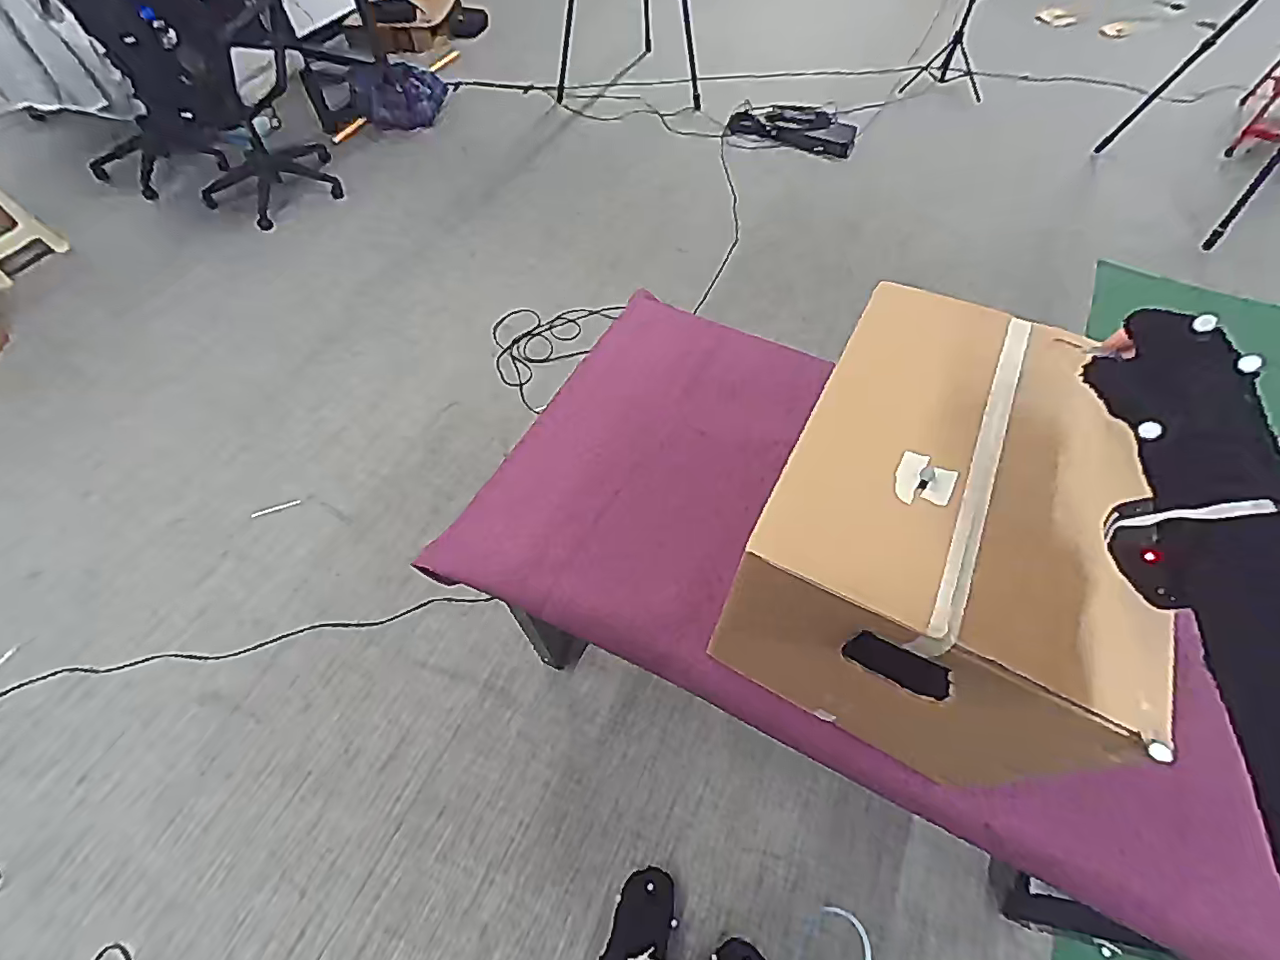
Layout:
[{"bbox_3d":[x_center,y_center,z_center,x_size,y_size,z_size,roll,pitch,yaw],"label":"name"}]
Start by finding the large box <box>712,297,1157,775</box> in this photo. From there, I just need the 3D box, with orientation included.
[{"bbox_3d":[0.319,0.065,0.644,0.320,0.320,0.408,25,61,16],"label":"large box"}]
